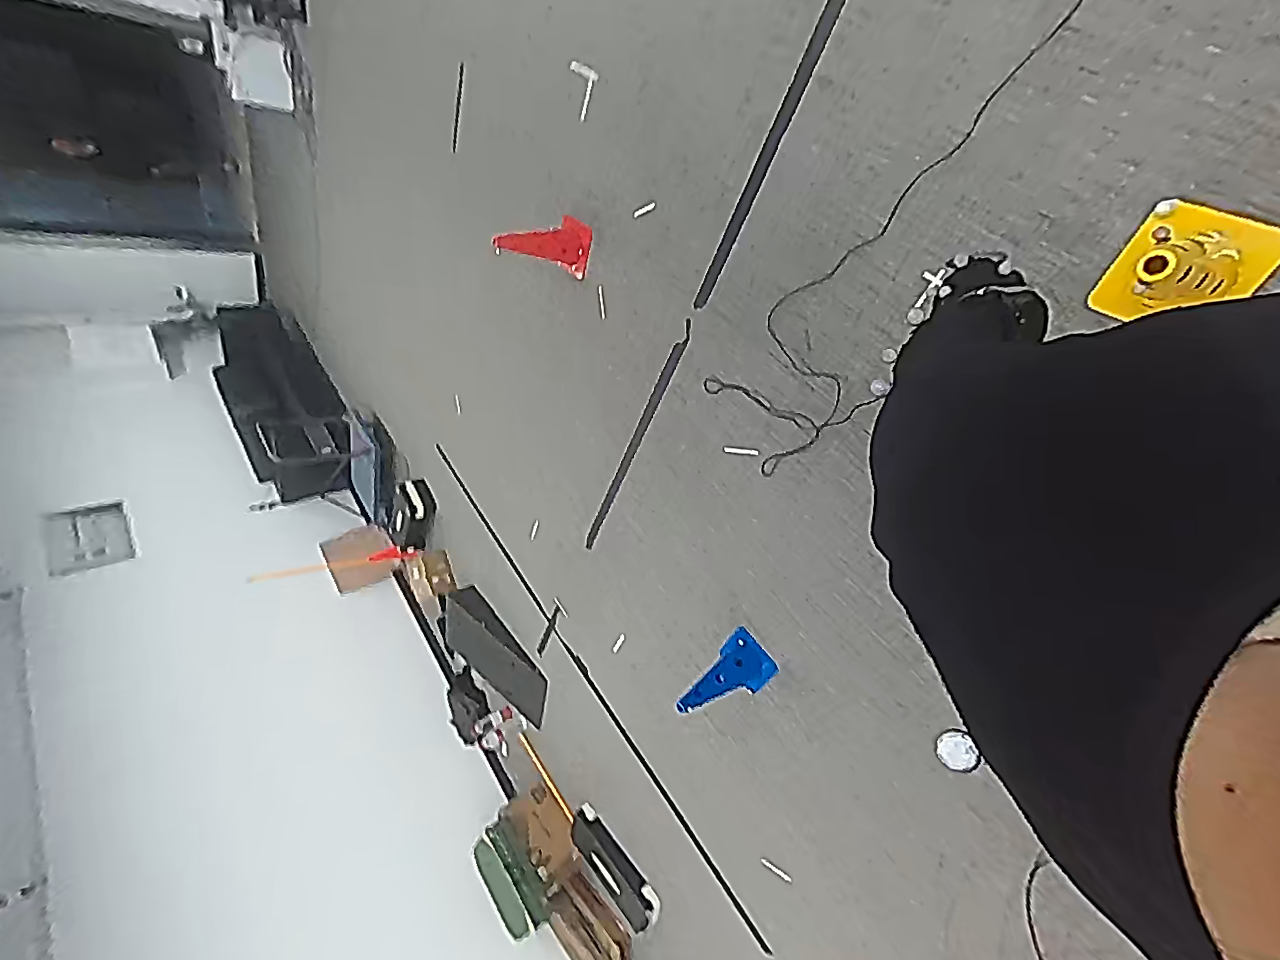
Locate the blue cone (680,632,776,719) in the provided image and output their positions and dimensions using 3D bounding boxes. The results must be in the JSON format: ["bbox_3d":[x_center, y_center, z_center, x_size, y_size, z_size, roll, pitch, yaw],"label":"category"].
[{"bbox_3d":[0.269,0.697,1.849,0.192,0.380,0.193,49,135,25],"label":"blue cone"}]

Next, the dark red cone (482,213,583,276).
[{"bbox_3d":[-0.417,-0.911,2.063,0.201,0.394,0.202,43,132,31],"label":"dark red cone"}]
